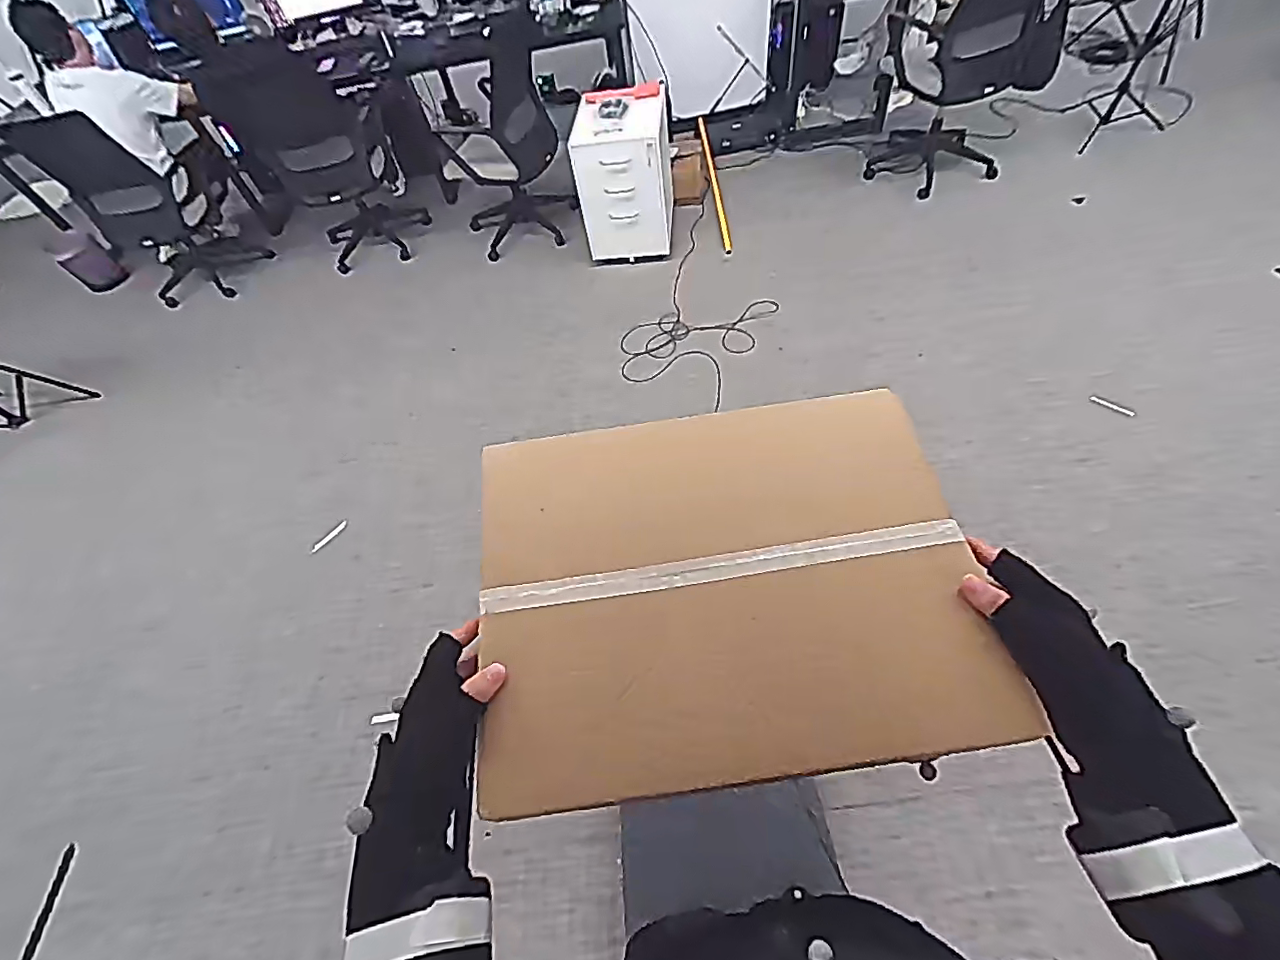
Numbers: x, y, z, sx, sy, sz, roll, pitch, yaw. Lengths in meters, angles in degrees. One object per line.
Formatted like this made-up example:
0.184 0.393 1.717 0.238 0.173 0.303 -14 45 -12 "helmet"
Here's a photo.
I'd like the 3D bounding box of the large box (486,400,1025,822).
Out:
0.076 0.152 0.590 0.408 0.320 0.320 -8 60 -1 "large box"
